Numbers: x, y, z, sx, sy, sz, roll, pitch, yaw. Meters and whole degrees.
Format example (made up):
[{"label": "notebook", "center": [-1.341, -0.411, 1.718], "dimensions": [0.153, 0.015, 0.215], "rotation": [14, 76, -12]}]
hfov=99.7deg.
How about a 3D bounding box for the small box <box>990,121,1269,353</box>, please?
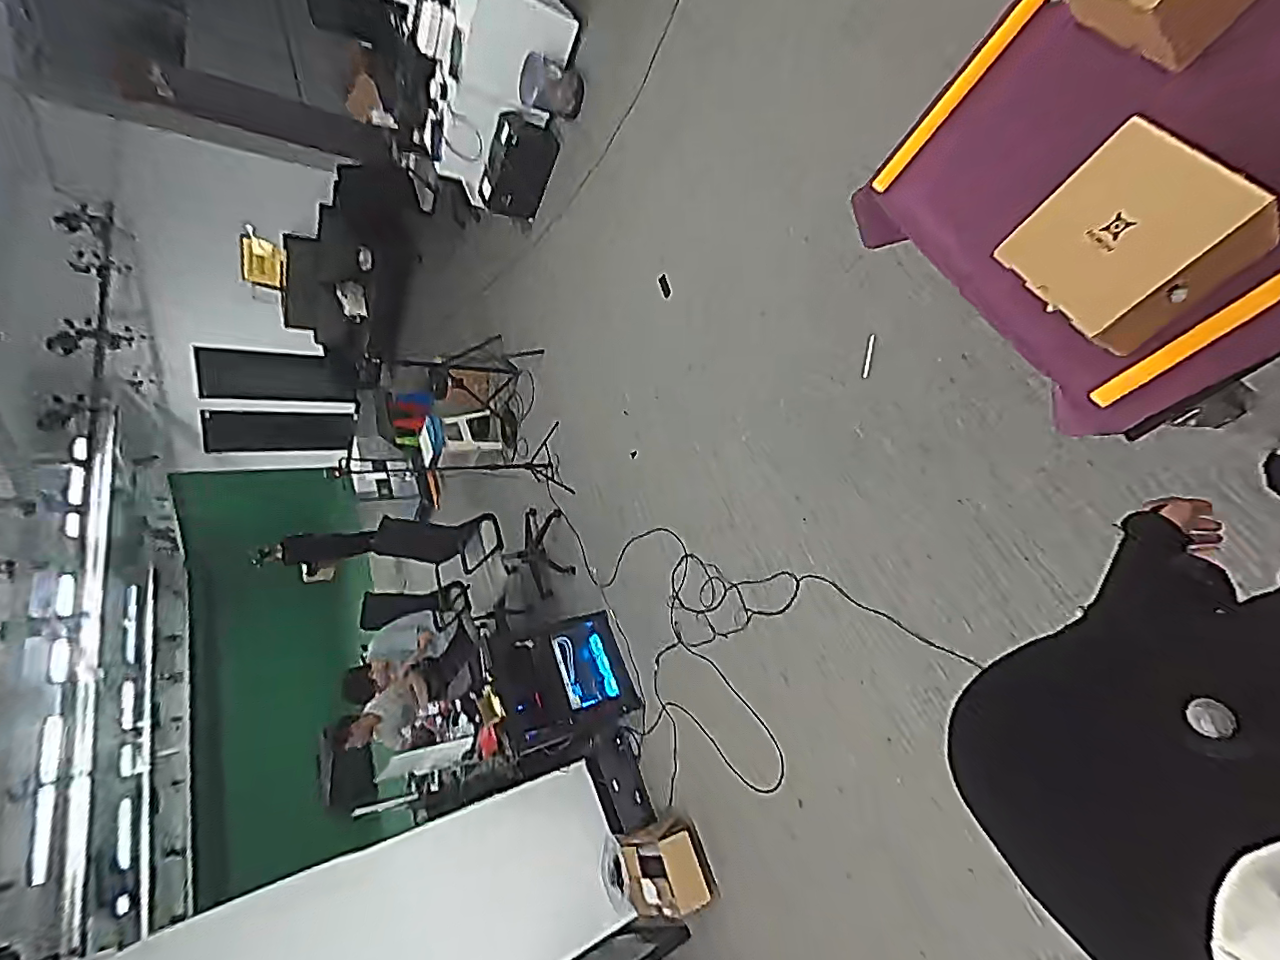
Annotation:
[{"label": "small box", "center": [0.580, -0.275, 0.648], "dimensions": [0.179, 0.176, 0.168], "rotation": [-52, 52, 40]}]
